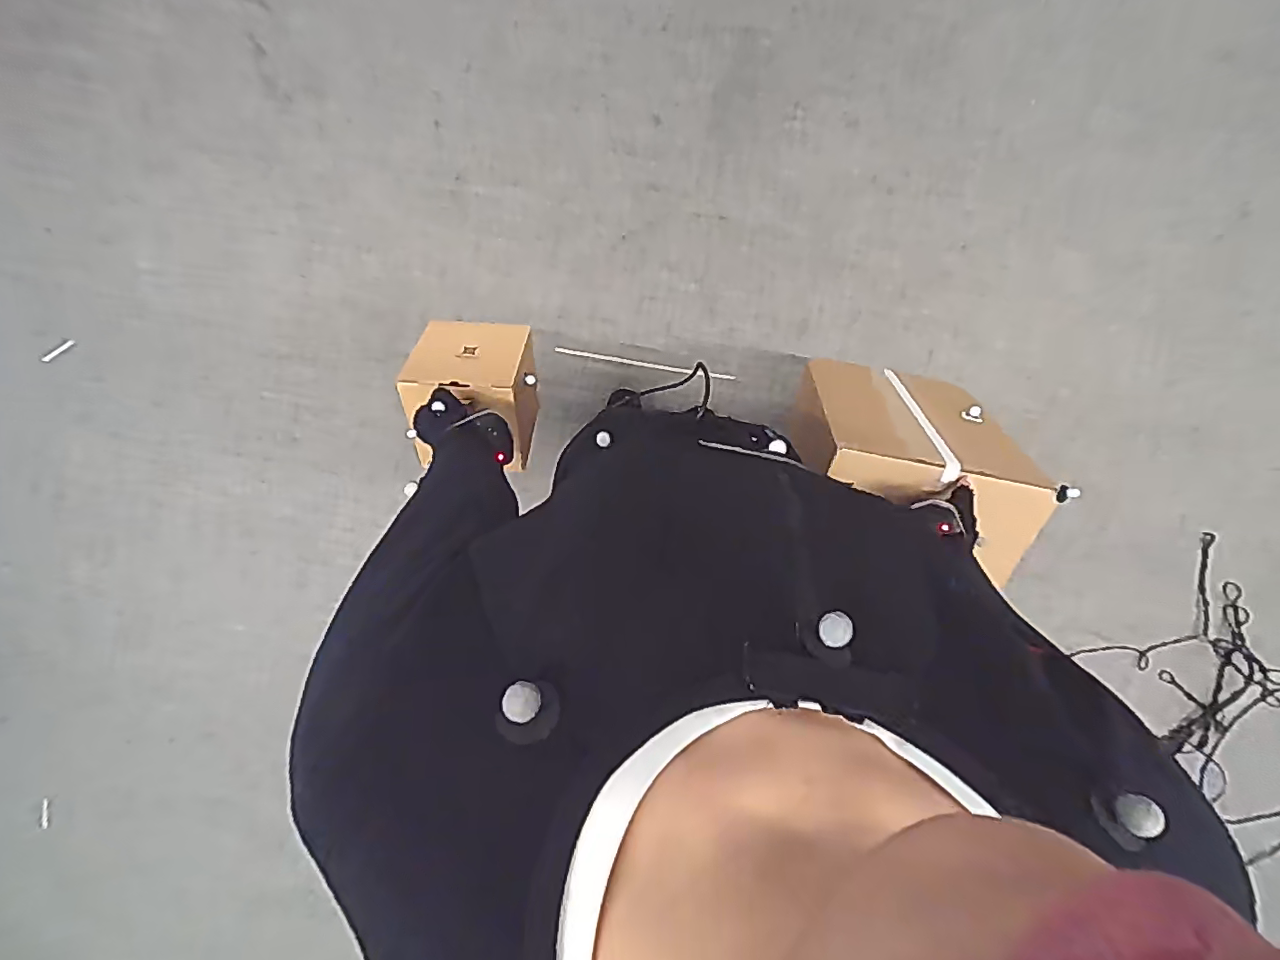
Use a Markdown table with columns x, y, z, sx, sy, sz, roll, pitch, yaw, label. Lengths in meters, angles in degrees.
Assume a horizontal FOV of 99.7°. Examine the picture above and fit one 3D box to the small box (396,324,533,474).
| x | y | z | sx | sy | sz | roll | pitch | yaw | label |
| --- | --- | --- | --- | --- | --- | --- | --- | --- | --- |
| -0.270 | -0.132 | 0.881 | 0.168 | 0.179 | 0.176 | 3 | 135 | -2 | small box |
